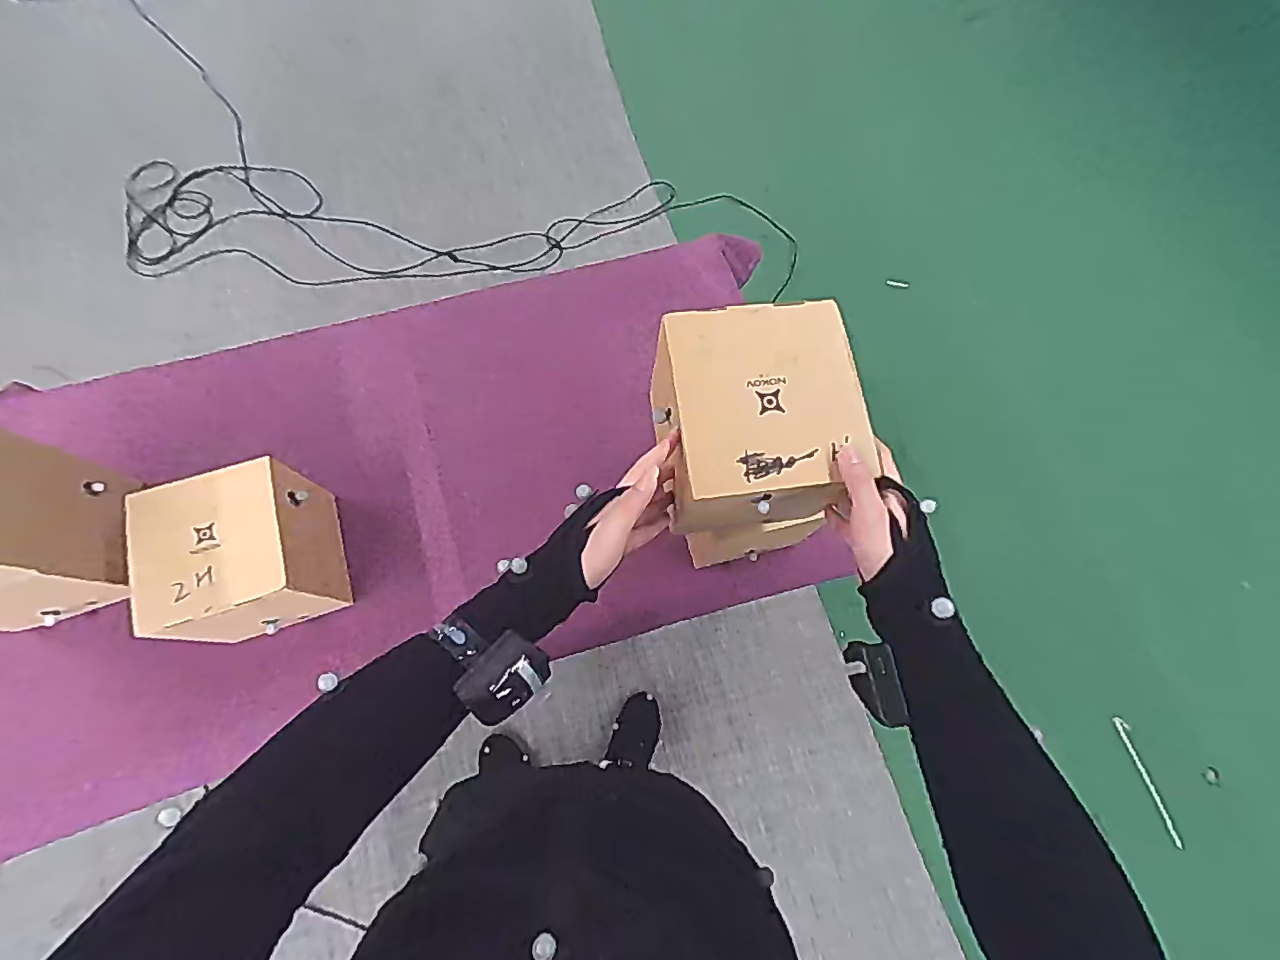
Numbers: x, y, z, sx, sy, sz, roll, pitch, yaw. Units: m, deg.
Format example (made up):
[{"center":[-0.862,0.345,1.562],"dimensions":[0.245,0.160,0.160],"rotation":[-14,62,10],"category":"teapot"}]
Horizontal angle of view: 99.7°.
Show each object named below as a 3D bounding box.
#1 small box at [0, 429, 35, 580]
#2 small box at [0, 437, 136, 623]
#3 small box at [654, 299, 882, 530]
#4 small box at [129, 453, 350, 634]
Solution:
[{"center":[-0.781,0.021,0.546],"dimensions":[0.168,0.176,0.179],"rotation":[-19,74,-8],"category":"small box"},{"center":[-0.789,0.073,0.700],"dimensions":[0.168,0.176,0.179],"rotation":[-19,74,-8],"category":"small box"},{"center":[0.110,-0.056,0.548],"dimensions":[0.168,0.176,0.179],"rotation":[-6,75,-5],"category":"small box"},{"center":[-0.510,0.091,0.708],"dimensions":[0.168,0.176,0.179],"rotation":[-17,74,-8],"category":"small box"}]
